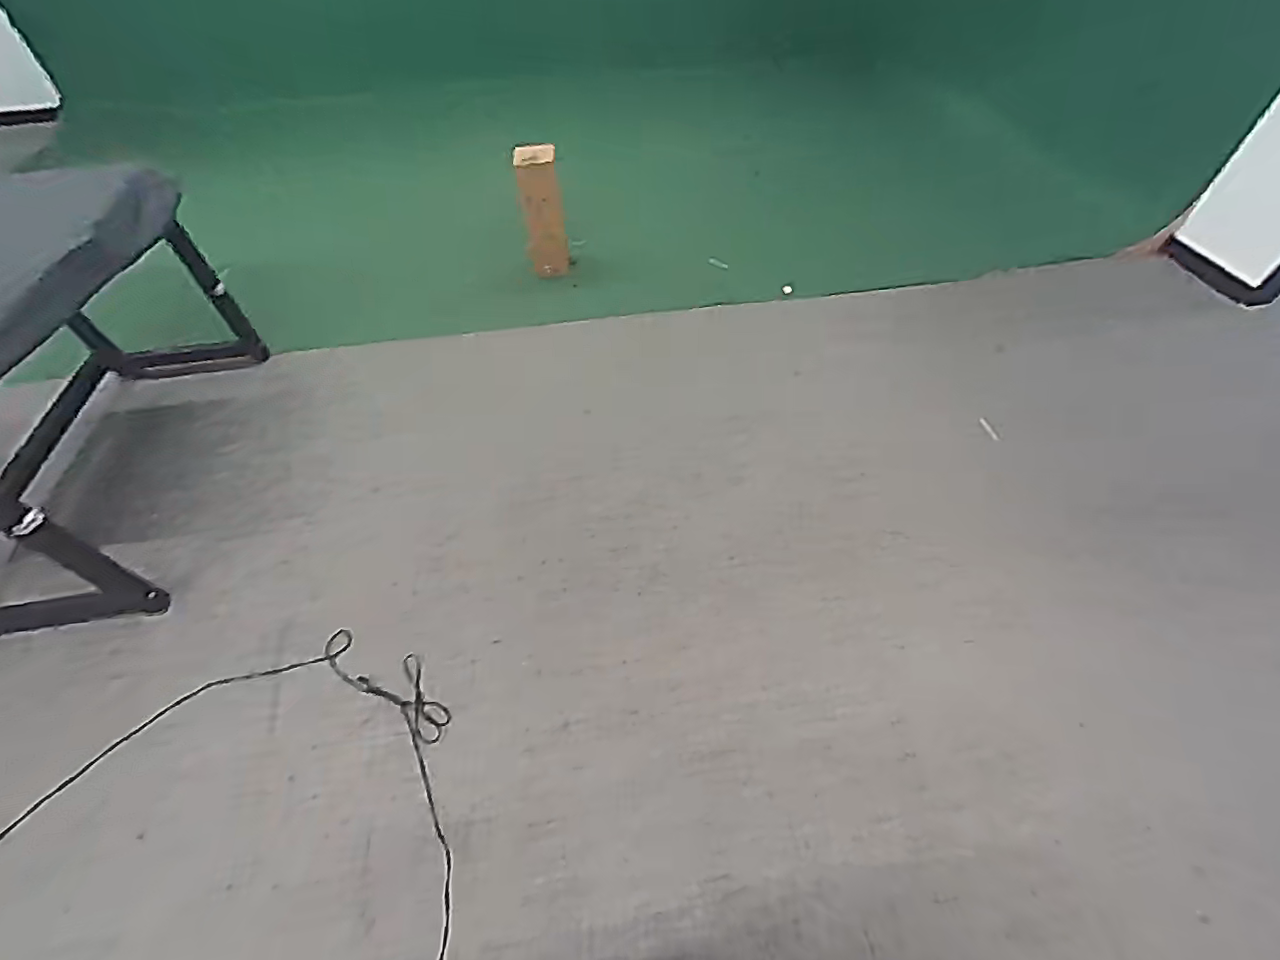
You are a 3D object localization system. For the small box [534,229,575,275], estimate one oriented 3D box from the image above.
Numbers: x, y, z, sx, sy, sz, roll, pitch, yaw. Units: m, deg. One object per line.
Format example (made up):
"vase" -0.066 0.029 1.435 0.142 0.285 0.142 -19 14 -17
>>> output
"small box" -0.403 -1.097 2.559 0.168 0.176 0.179 -7 54 -2

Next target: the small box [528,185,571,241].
"small box" -0.406 -1.202 2.433 0.168 0.176 0.179 -6 51 -1

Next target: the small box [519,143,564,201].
"small box" -0.415 -1.307 2.306 0.168 0.176 0.179 -5 51 -2
